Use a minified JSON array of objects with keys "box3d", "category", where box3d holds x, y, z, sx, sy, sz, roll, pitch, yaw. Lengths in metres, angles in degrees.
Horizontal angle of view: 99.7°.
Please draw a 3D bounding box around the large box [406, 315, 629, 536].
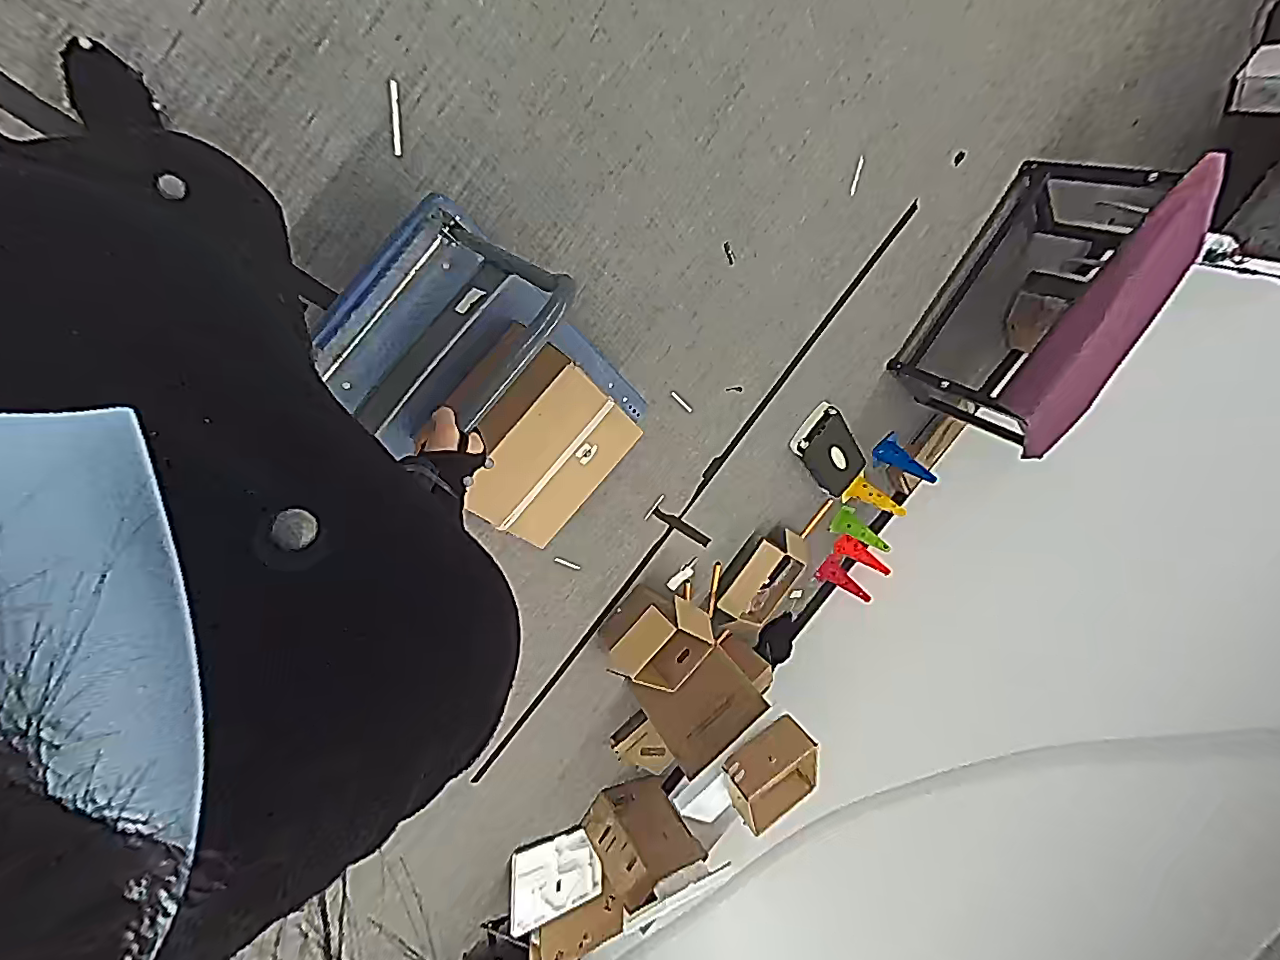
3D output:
[{"box3d":[-0.315,-0.139,1.380,0.408,0.320,0.320,-50,139,-1],"category":"large box"}]
